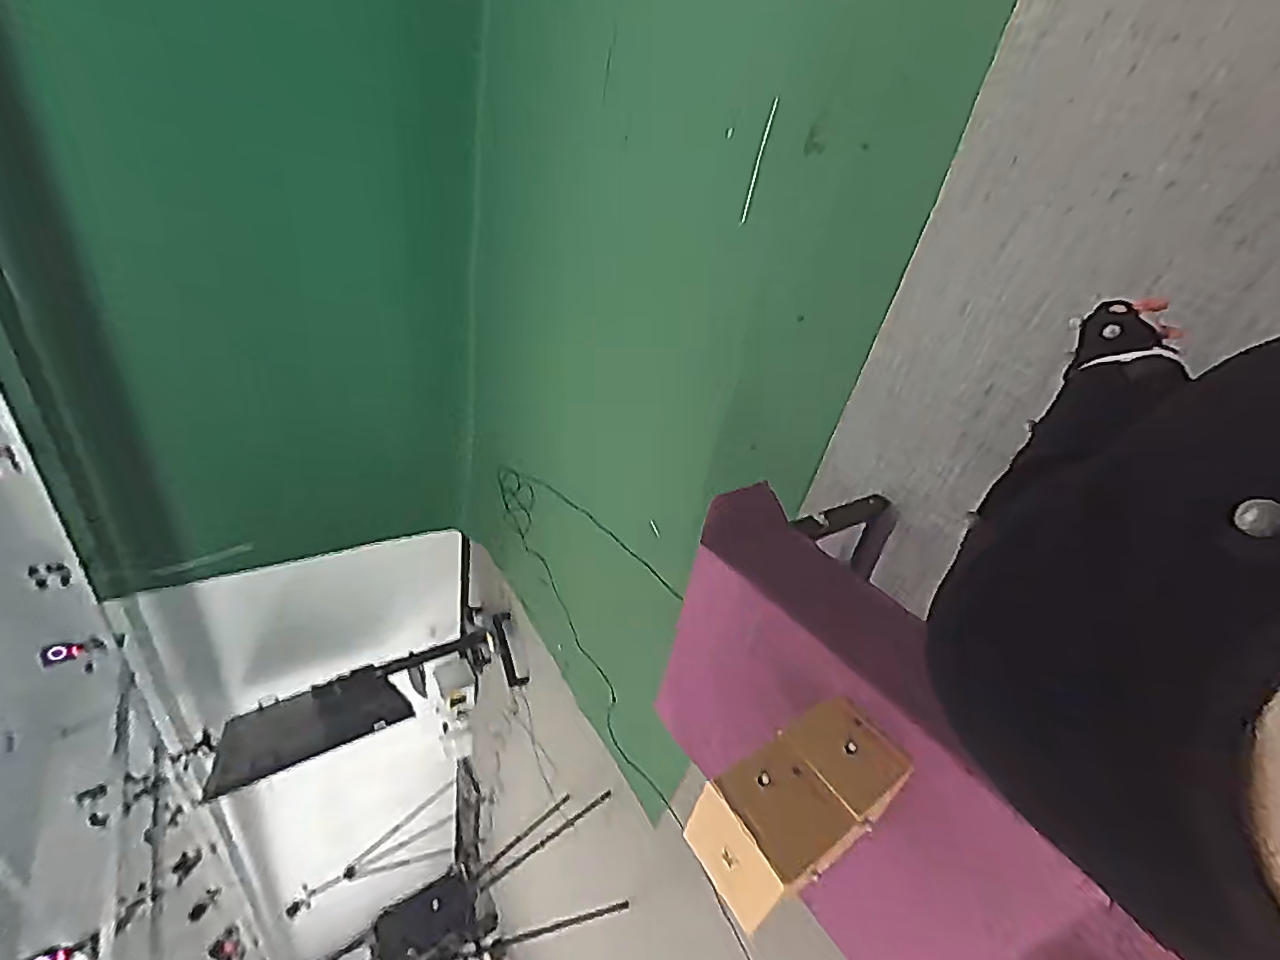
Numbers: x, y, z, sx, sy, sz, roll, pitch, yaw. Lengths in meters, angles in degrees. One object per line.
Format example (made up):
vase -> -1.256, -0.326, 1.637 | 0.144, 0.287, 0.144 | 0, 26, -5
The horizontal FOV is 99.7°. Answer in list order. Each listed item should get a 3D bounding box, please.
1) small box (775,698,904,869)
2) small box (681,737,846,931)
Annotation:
small box -> 0.330, 0.523, 0.953 | 0.168, 0.176, 0.179 | 43, 132, 42
small box -> 0.196, 0.551, 0.863 | 0.168, 0.176, 0.179 | 45, 133, 40
